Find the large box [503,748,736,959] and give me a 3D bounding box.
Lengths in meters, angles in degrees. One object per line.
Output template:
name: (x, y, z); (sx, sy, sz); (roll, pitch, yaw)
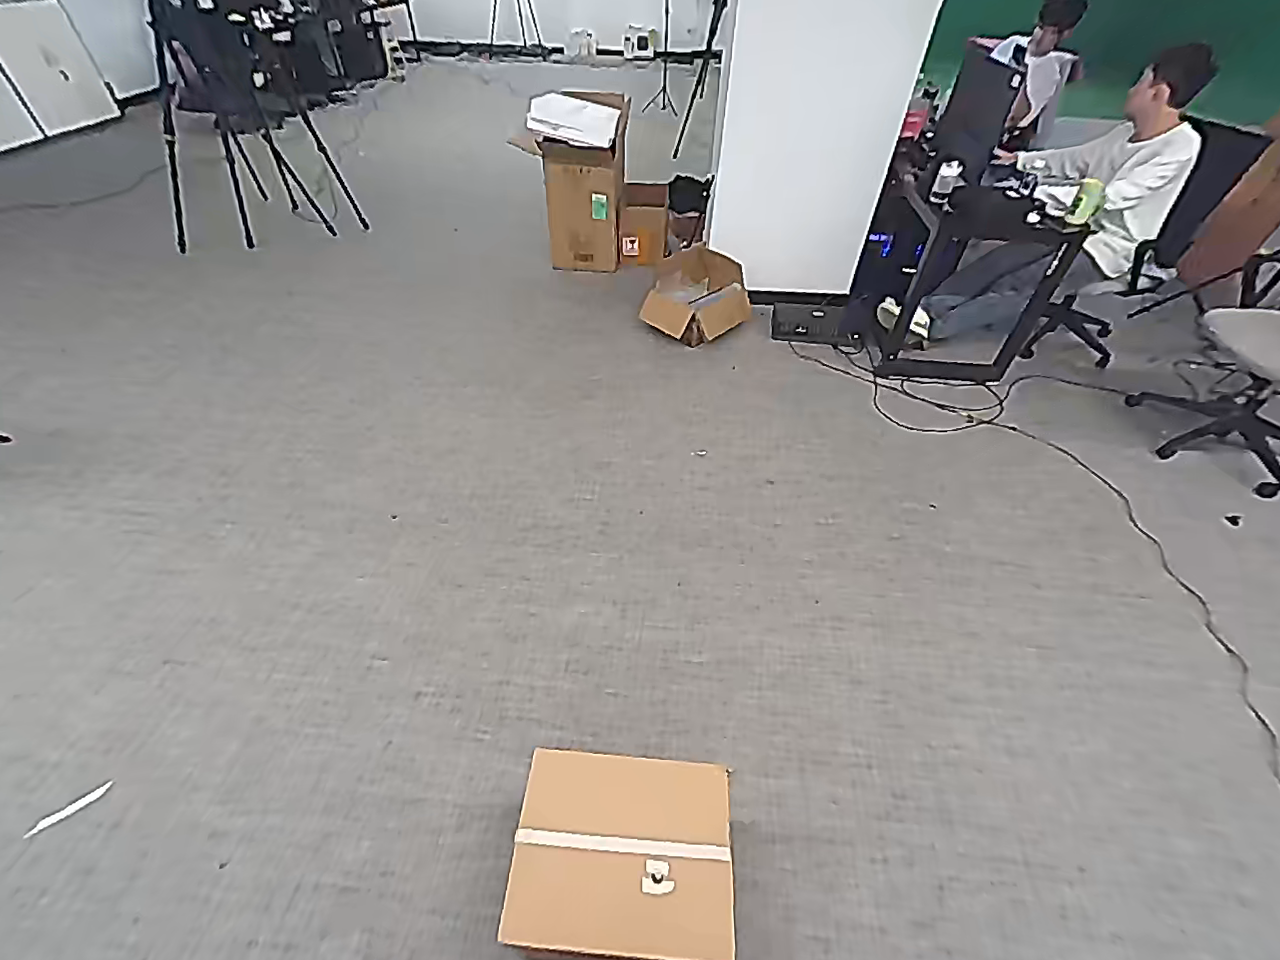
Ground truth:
large box: (-0.035, 0.784, 1.118); (0.408, 0.320, 0.320); (5, 46, 1)
